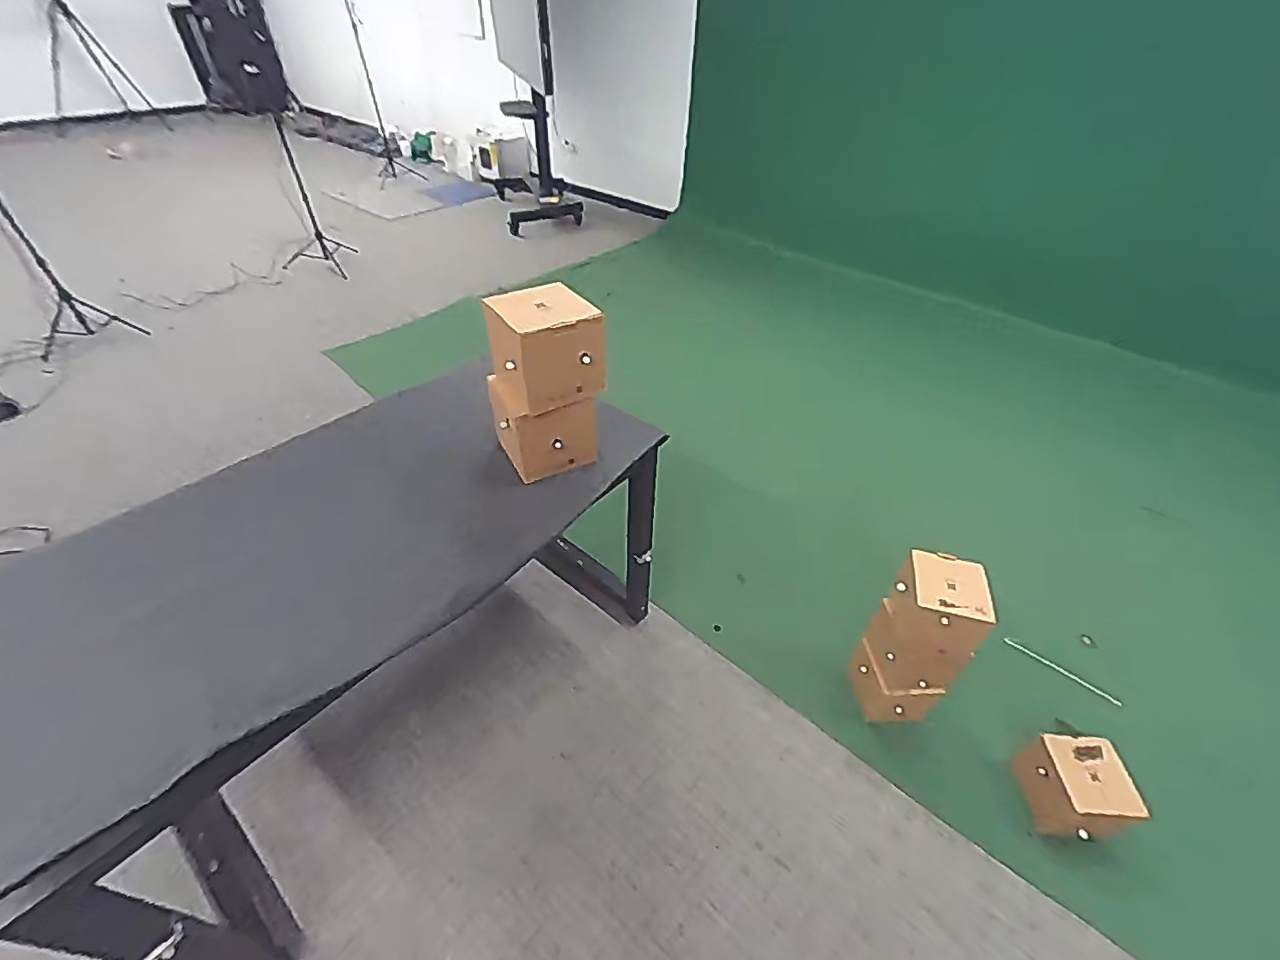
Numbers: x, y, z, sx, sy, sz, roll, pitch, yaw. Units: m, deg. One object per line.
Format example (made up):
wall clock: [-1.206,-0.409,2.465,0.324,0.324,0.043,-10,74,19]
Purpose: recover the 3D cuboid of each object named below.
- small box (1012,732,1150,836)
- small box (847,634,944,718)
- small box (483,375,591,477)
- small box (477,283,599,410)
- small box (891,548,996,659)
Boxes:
small box: [1.059,0.742,1.321,0.168,0.176,0.179,3,44,1]
small box: [0.705,0.552,1.515,0.168,0.176,0.179,-2,42,-4]
small box: [-0.209,-0.124,1.127,0.168,0.176,0.179,-20,45,-22]
small box: [-0.187,-0.249,1.024,0.168,0.176,0.179,-23,46,-26]
small box: [0.720,0.297,1.307,0.168,0.176,0.179,12,43,11]
